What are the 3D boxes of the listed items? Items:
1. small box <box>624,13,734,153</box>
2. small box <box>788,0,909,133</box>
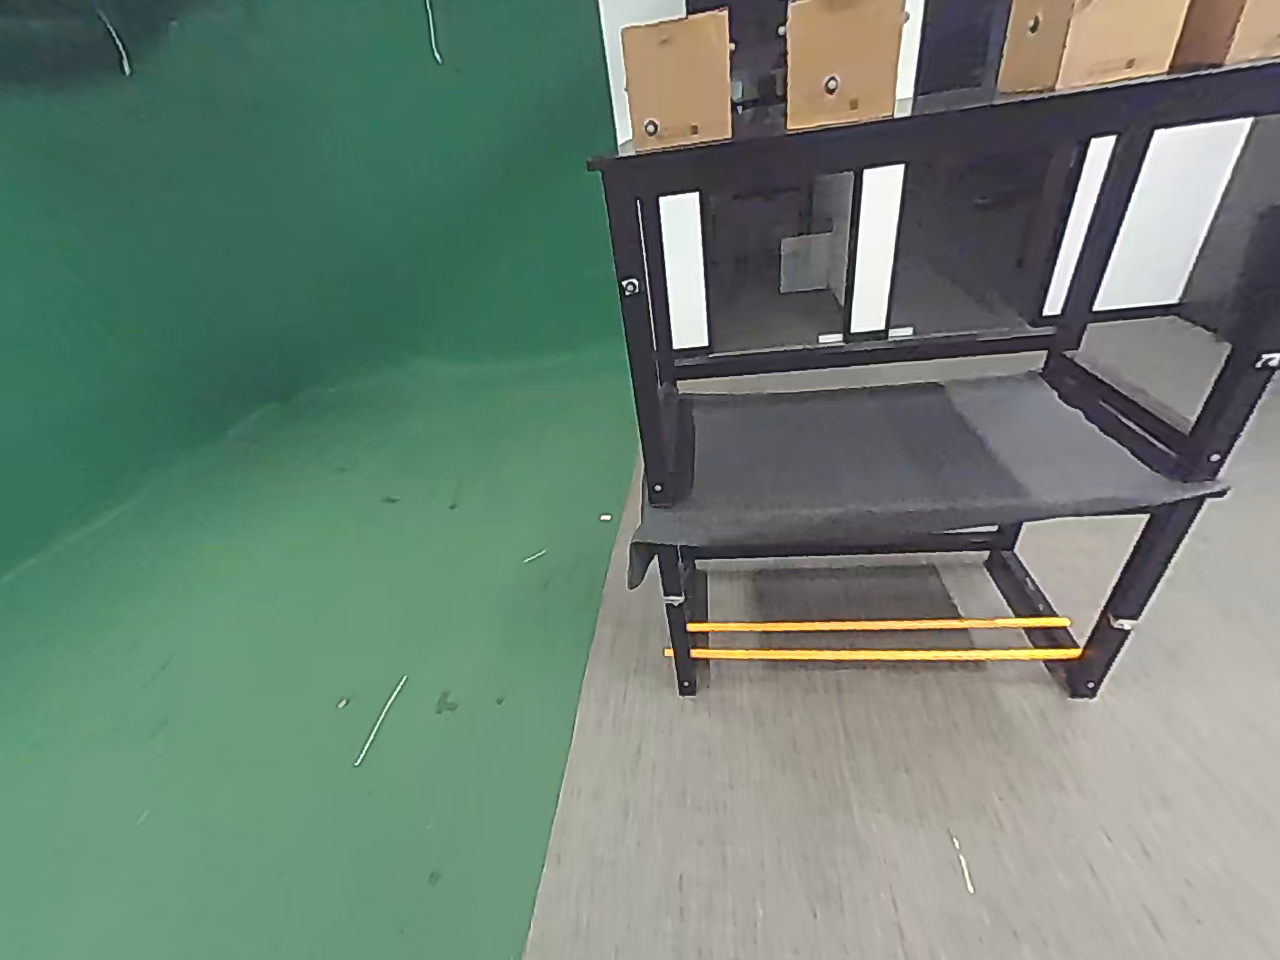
[{"bbox_3d":[0.074,-0.675,0.937,0.168,0.176,0.179,-3,33,8],"label":"small box"},{"bbox_3d":[0.336,-0.685,0.899,0.168,0.176,0.179,2,35,15],"label":"small box"}]
